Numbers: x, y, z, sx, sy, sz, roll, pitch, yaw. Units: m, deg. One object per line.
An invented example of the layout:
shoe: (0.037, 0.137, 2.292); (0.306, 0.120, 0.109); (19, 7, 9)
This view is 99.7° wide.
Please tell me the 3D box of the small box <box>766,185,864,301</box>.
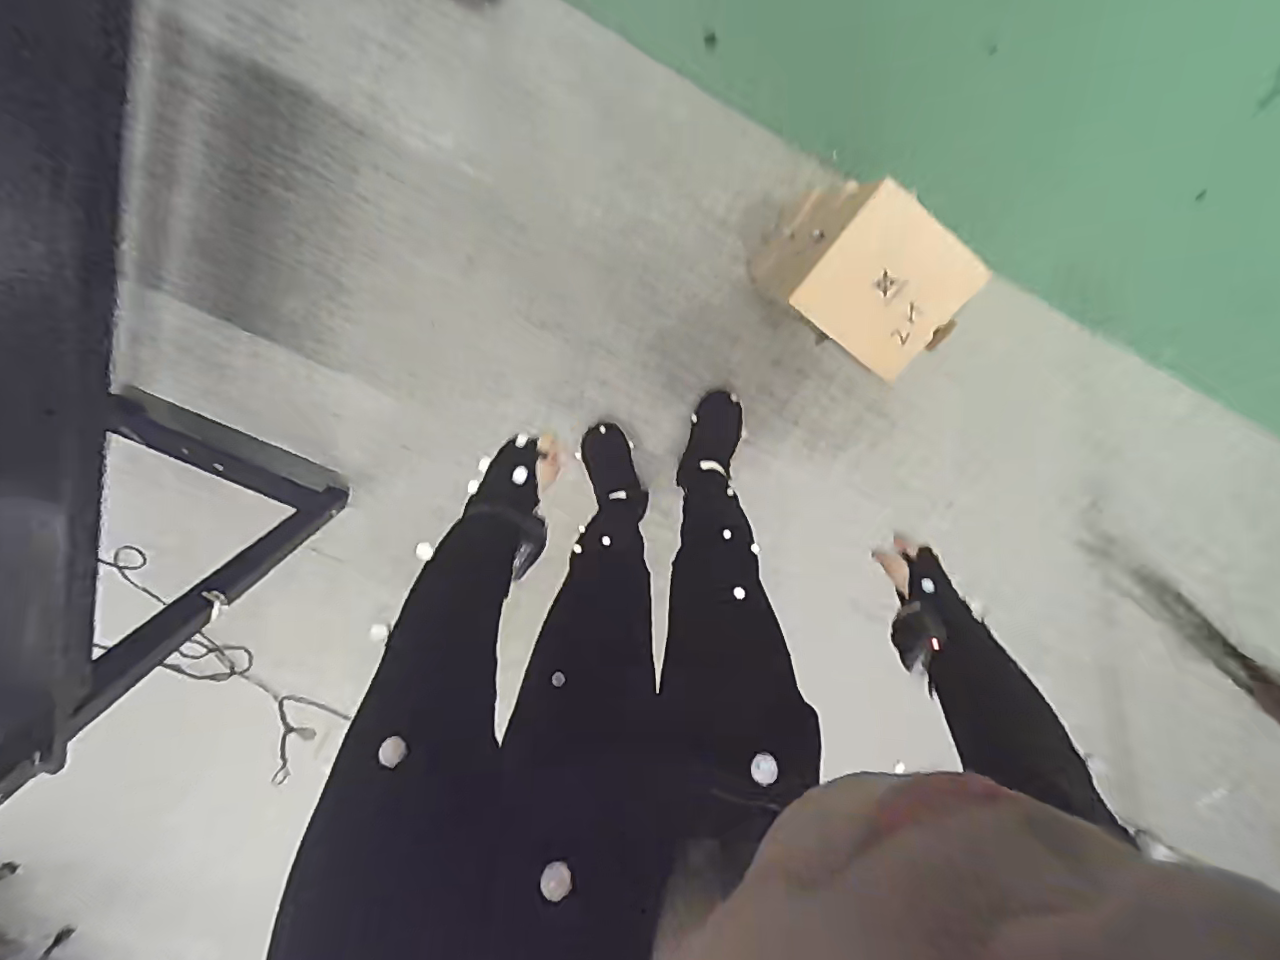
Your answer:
small box: (0.317, -0.329, 0.855); (0.168, 0.176, 0.179); (32, 112, -9)

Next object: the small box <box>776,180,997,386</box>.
small box: (0.301, -0.253, 0.708); (0.179, 0.176, 0.168); (35, 112, -11)
